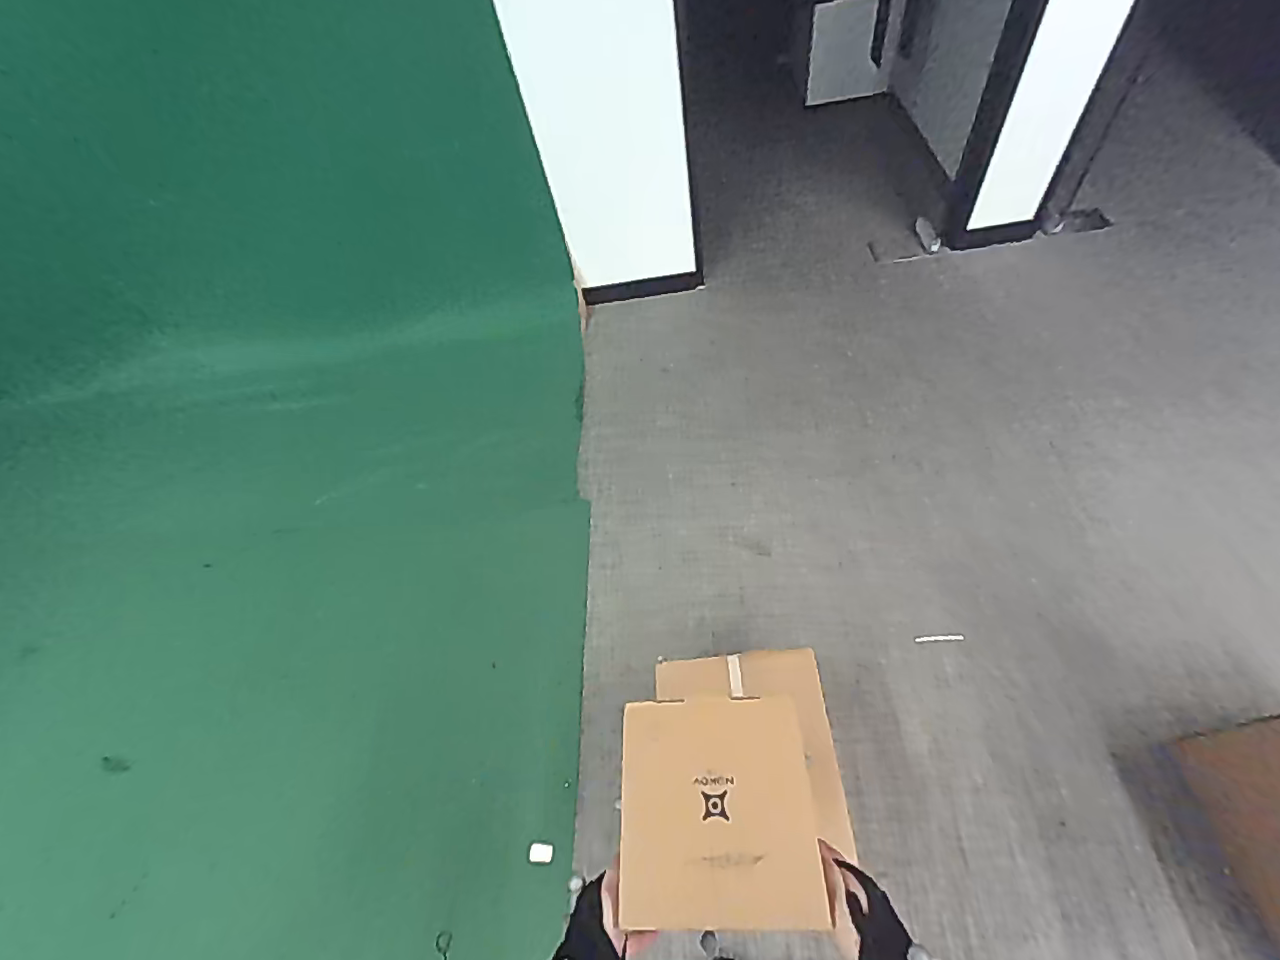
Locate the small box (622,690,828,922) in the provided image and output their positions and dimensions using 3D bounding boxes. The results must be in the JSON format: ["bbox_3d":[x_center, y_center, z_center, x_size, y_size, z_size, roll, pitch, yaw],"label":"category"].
[{"bbox_3d":[0.080,0.326,0.541,0.168,0.176,0.179,-5,52,8],"label":"small box"}]

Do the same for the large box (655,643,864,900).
[{"bbox_3d":[0.217,0.585,1.082,0.320,0.320,0.408,-7,55,7],"label":"large box"}]
